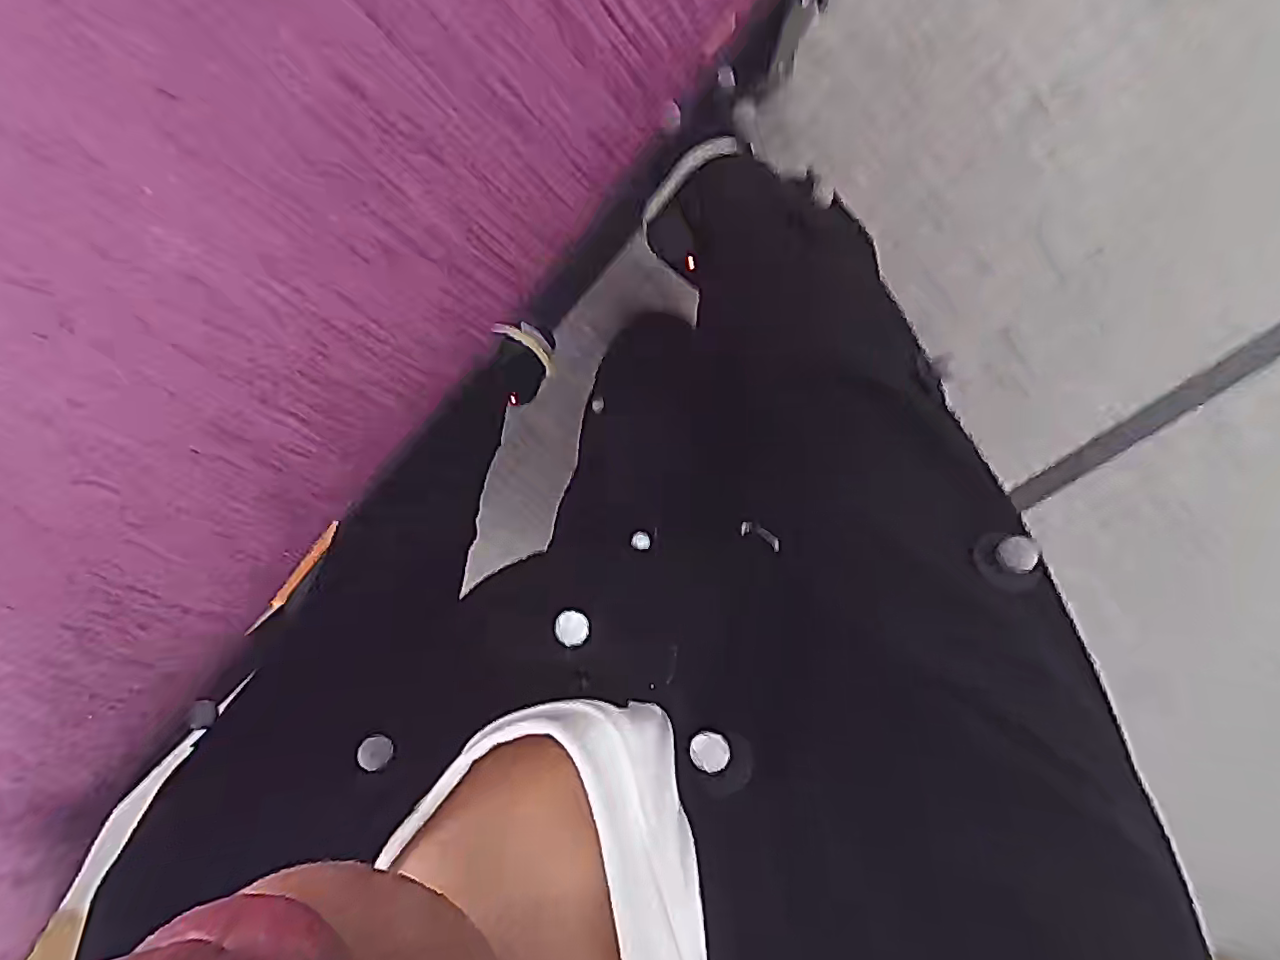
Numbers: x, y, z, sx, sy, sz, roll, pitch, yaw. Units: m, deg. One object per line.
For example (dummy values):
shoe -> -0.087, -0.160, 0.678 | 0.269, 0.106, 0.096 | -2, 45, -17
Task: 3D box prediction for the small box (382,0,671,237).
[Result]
small box -> -0.090, -0.362, 0.489 | 0.168, 0.176, 0.179 | 37, 127, -13
